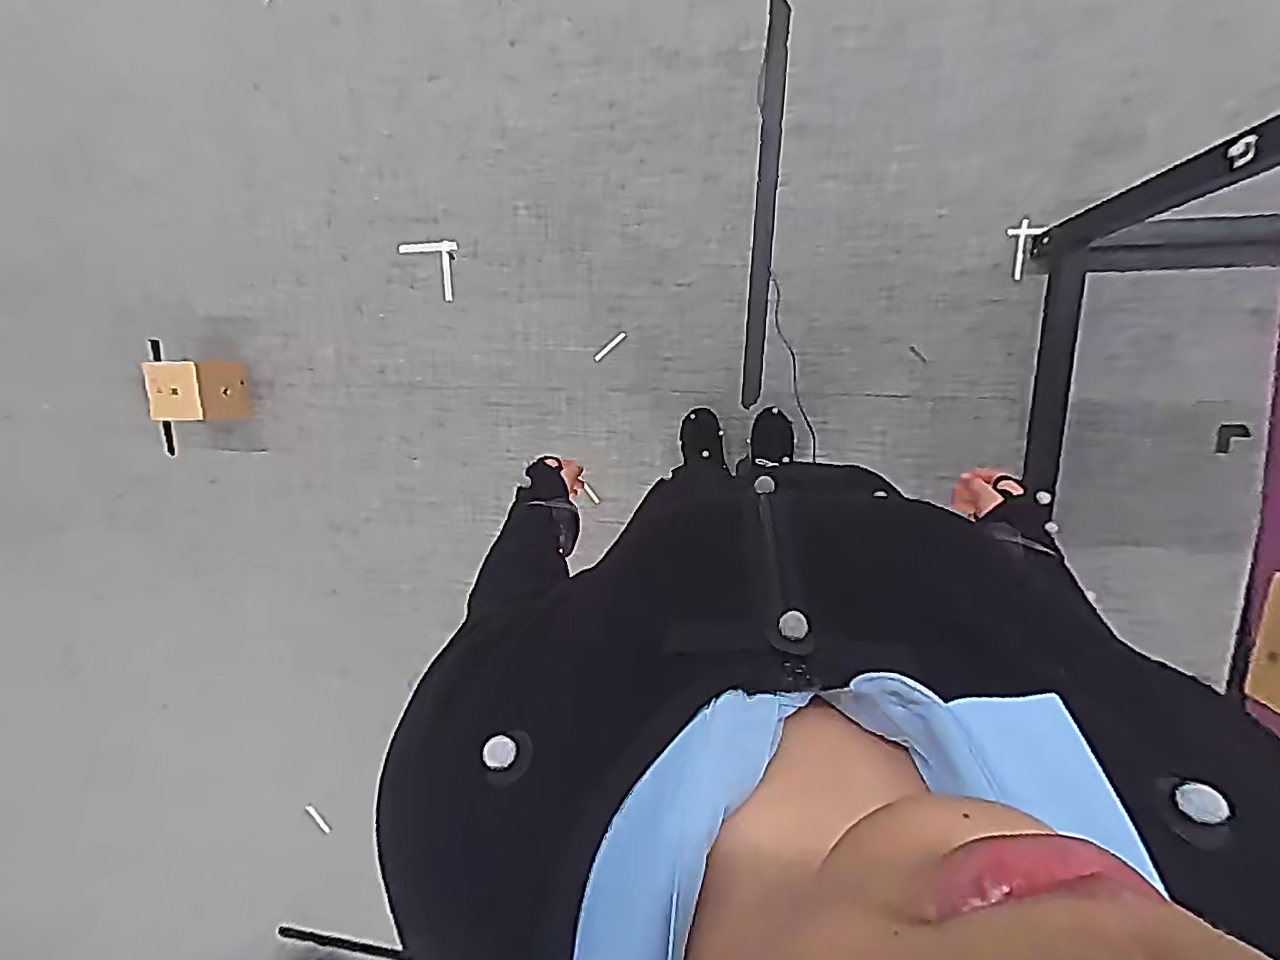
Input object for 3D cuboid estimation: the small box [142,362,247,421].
[{"bbox_3d":[-1.301,-0.264,1.597,0.179,0.176,0.168,1,100,9],"label":"small box"}]
